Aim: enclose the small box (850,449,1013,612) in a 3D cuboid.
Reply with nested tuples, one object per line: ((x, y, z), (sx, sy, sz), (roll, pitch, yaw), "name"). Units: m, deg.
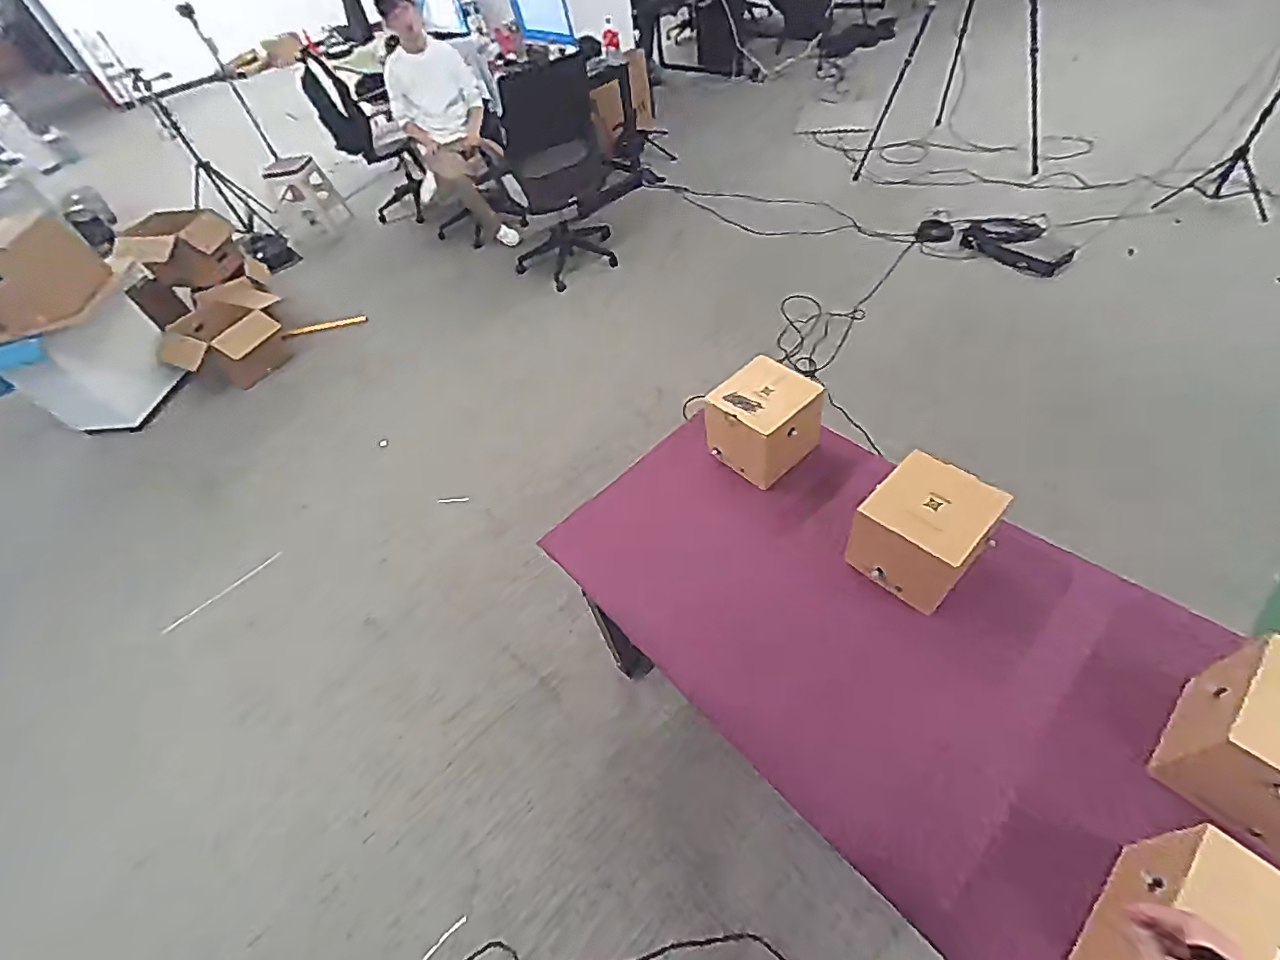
((0.480, 0.087, 0.919), (0.179, 0.176, 0.168), (-39, 54, -20), "small box")

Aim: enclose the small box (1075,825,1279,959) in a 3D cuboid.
((0.593, 0.498, 0.547), (0.179, 0.176, 0.168), (-37, 52, -21), "small box")

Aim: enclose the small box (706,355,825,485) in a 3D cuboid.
((0.260, -0.121, 1.128), (0.179, 0.176, 0.168), (-37, 55, -19), "small box")

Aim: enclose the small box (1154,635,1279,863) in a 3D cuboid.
((0.787, 0.331, 0.655), (0.179, 0.176, 0.168), (-39, 54, -21), "small box")
